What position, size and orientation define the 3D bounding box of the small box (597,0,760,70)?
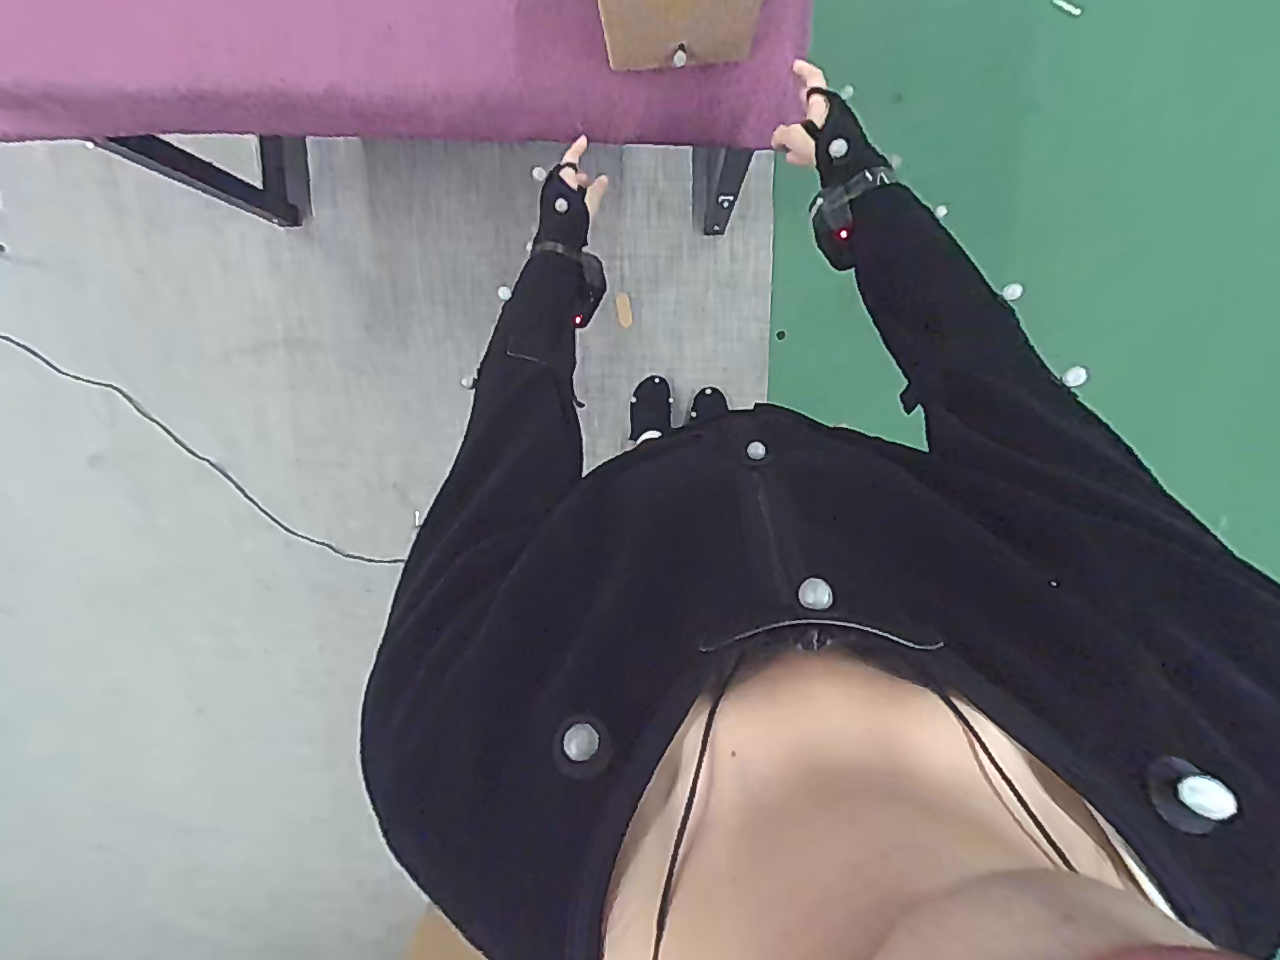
[{"bbox_3d":[0.040,-0.589,0.596,0.179,0.176,0.168,-2,103,3],"label":"small box"}]
